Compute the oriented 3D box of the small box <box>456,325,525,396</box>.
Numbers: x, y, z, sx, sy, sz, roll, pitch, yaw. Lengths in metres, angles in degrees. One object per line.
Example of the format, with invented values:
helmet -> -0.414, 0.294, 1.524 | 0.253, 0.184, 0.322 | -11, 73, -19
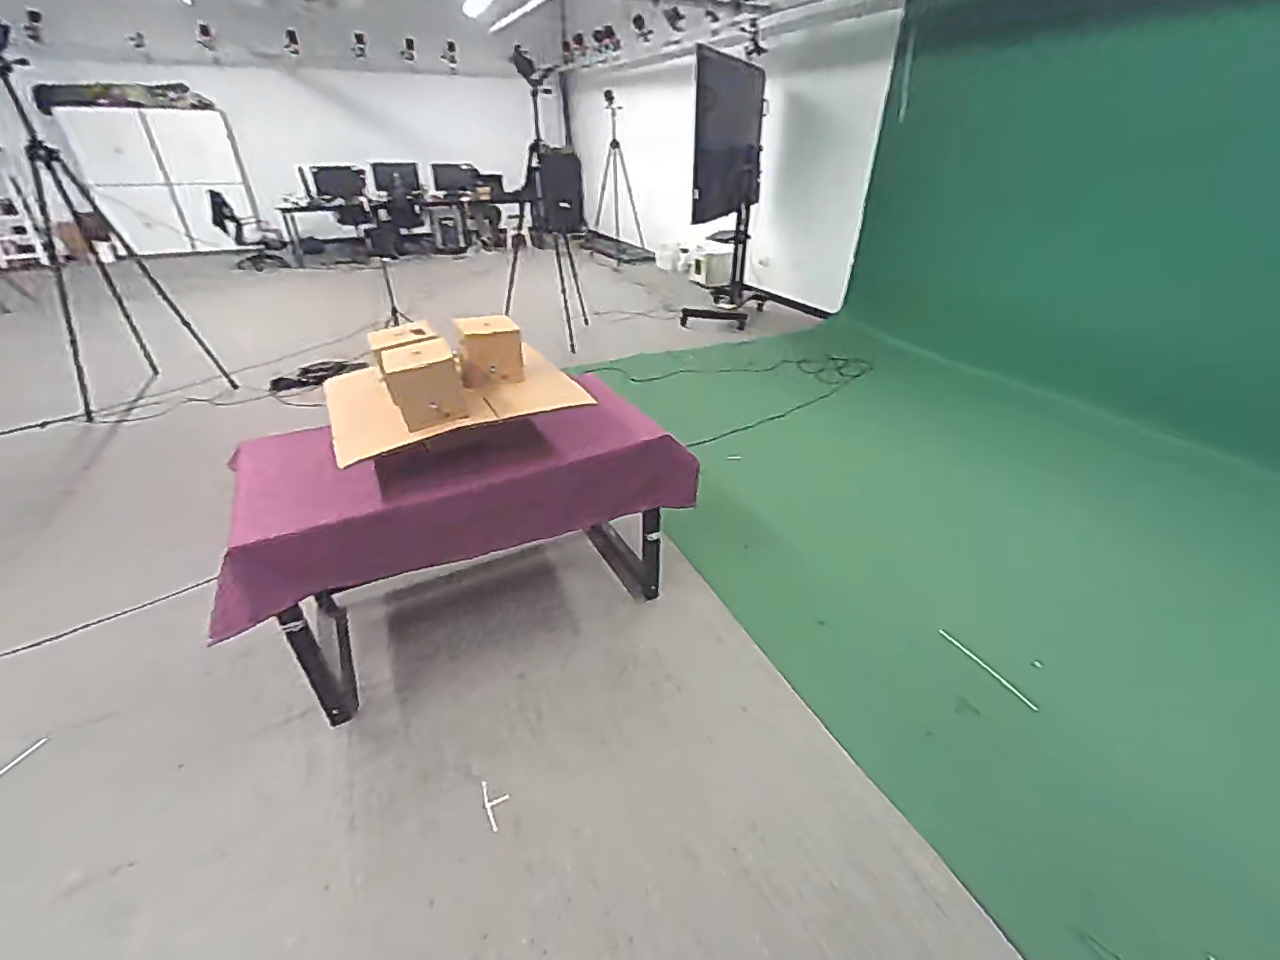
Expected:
small box -> -0.466, -0.373, 1.683 | 0.168, 0.176, 0.179 | -14, 35, -24
